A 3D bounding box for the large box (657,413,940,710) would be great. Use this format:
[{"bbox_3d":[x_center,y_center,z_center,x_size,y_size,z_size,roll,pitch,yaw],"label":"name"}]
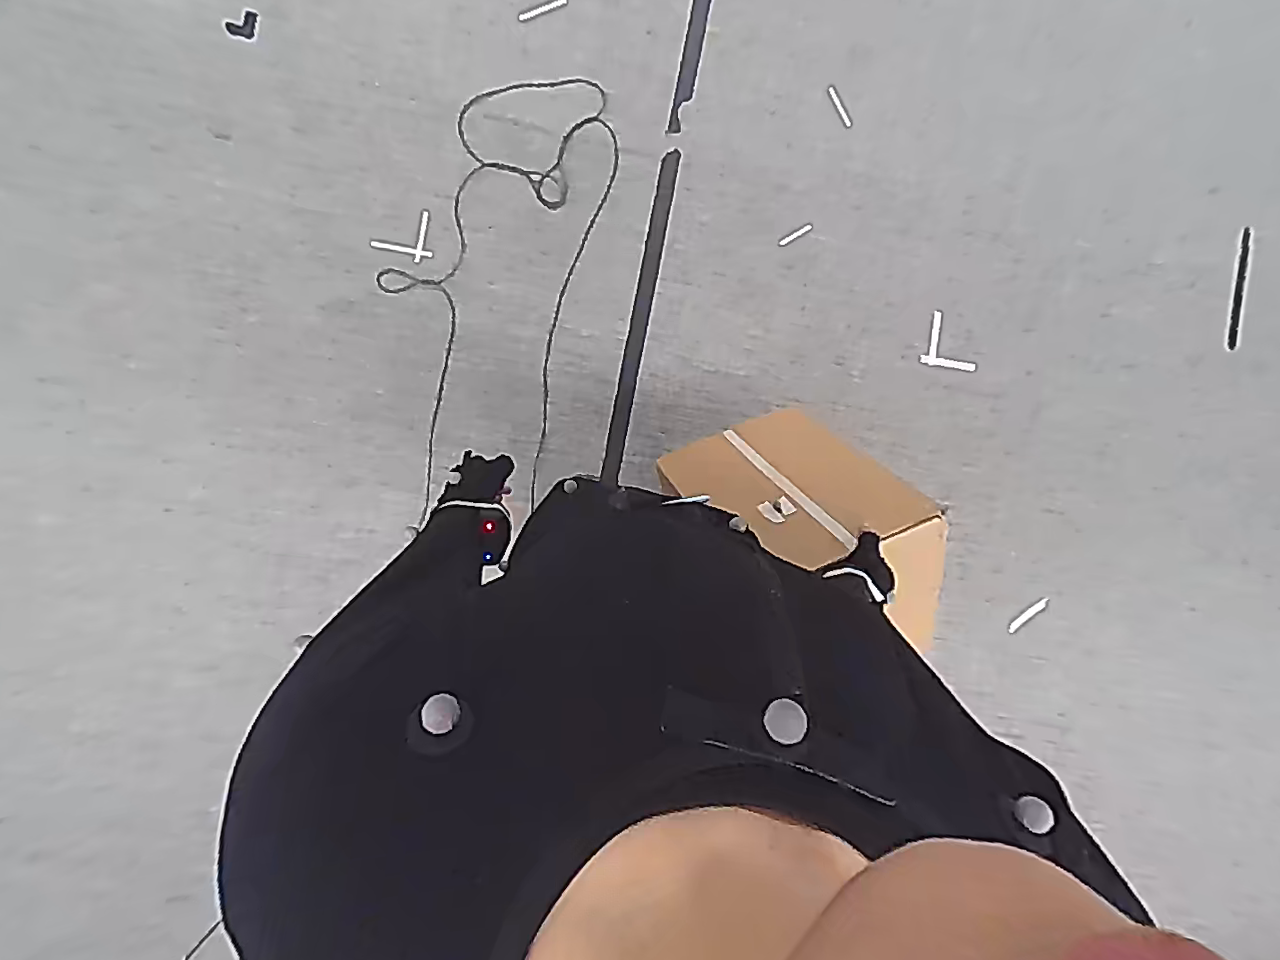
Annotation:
[{"bbox_3d":[0.265,0.128,1.014,0.320,0.408,0.320,-21,126,-9],"label":"large box"}]
